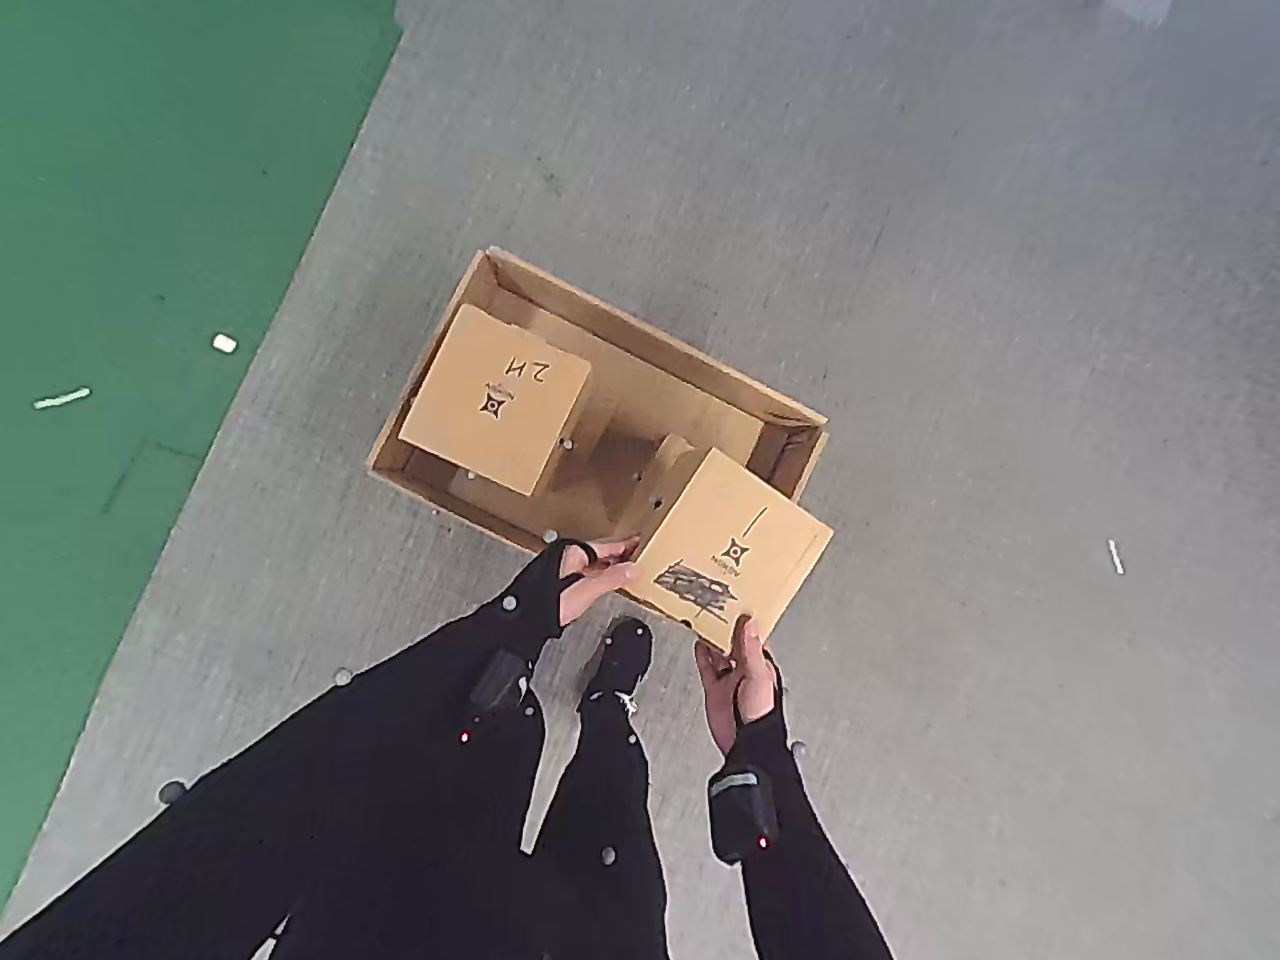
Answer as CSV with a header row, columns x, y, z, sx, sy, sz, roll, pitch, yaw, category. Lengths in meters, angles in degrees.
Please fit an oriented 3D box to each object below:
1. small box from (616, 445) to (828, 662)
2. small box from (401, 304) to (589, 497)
x,y,z,sx,sy,sz,roll,pitch,yaw,category
0.082,0.077,0.648,0.168,0.176,0.179,35,87,-7,small box
-0.172,-0.091,0.703,0.168,0.176,0.179,25,88,-5,small box
